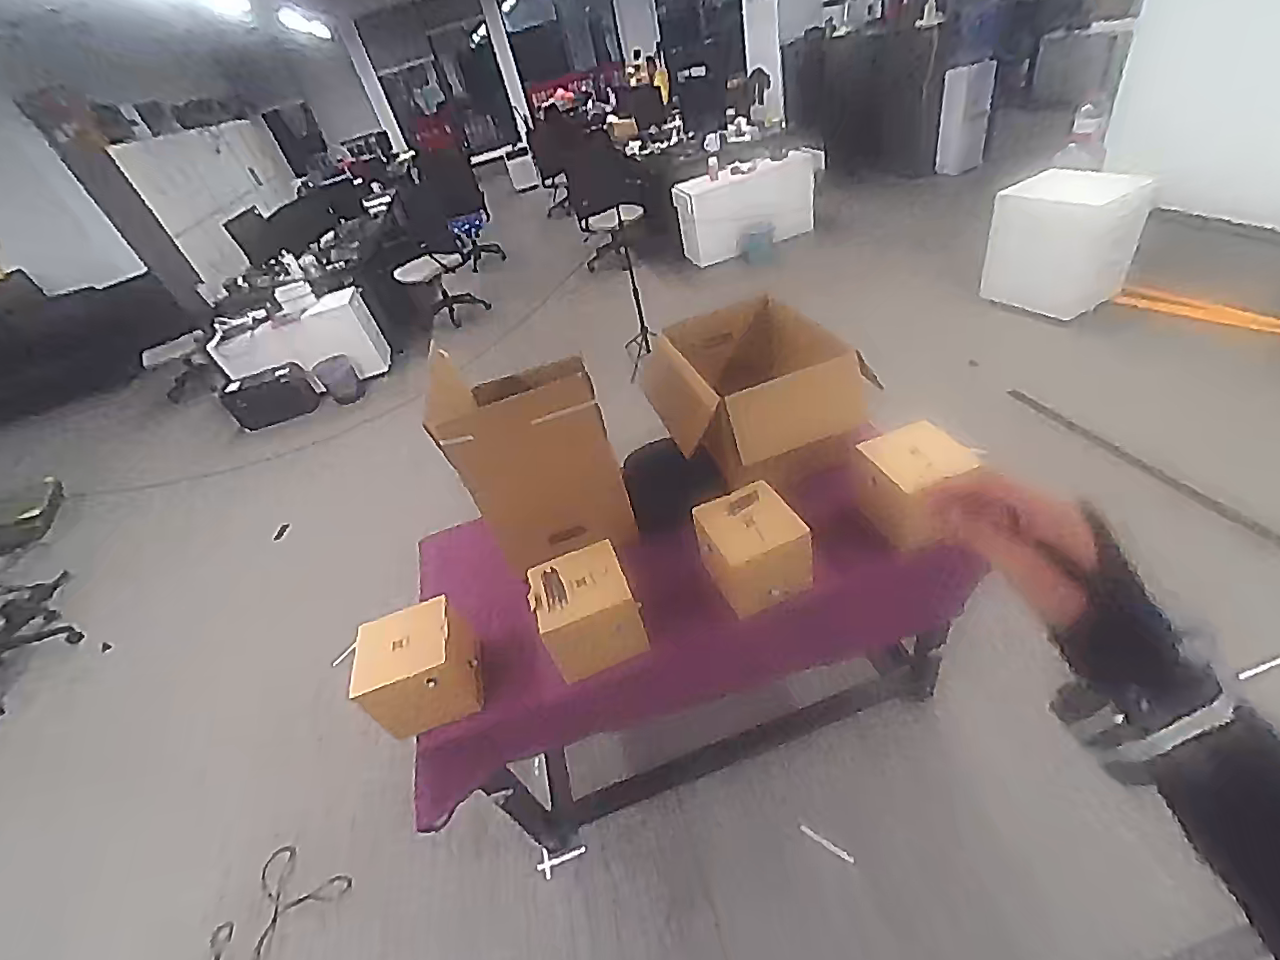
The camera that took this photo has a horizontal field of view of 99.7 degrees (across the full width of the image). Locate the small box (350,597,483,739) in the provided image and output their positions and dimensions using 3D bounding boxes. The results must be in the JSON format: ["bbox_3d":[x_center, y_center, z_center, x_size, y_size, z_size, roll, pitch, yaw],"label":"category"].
[{"bbox_3d":[-0.420,0.365,1.041,0.179,0.176,0.168,-20,39,-6],"label":"small box"}]

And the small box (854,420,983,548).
[{"bbox_3d":[0.559,0.008,1.111,0.168,0.176,0.179,-21,39,-3],"label":"small box"}]

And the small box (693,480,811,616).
[{"bbox_3d":[0.223,0.136,1.083,0.168,0.176,0.179,-23,40,-7],"label":"small box"}]
